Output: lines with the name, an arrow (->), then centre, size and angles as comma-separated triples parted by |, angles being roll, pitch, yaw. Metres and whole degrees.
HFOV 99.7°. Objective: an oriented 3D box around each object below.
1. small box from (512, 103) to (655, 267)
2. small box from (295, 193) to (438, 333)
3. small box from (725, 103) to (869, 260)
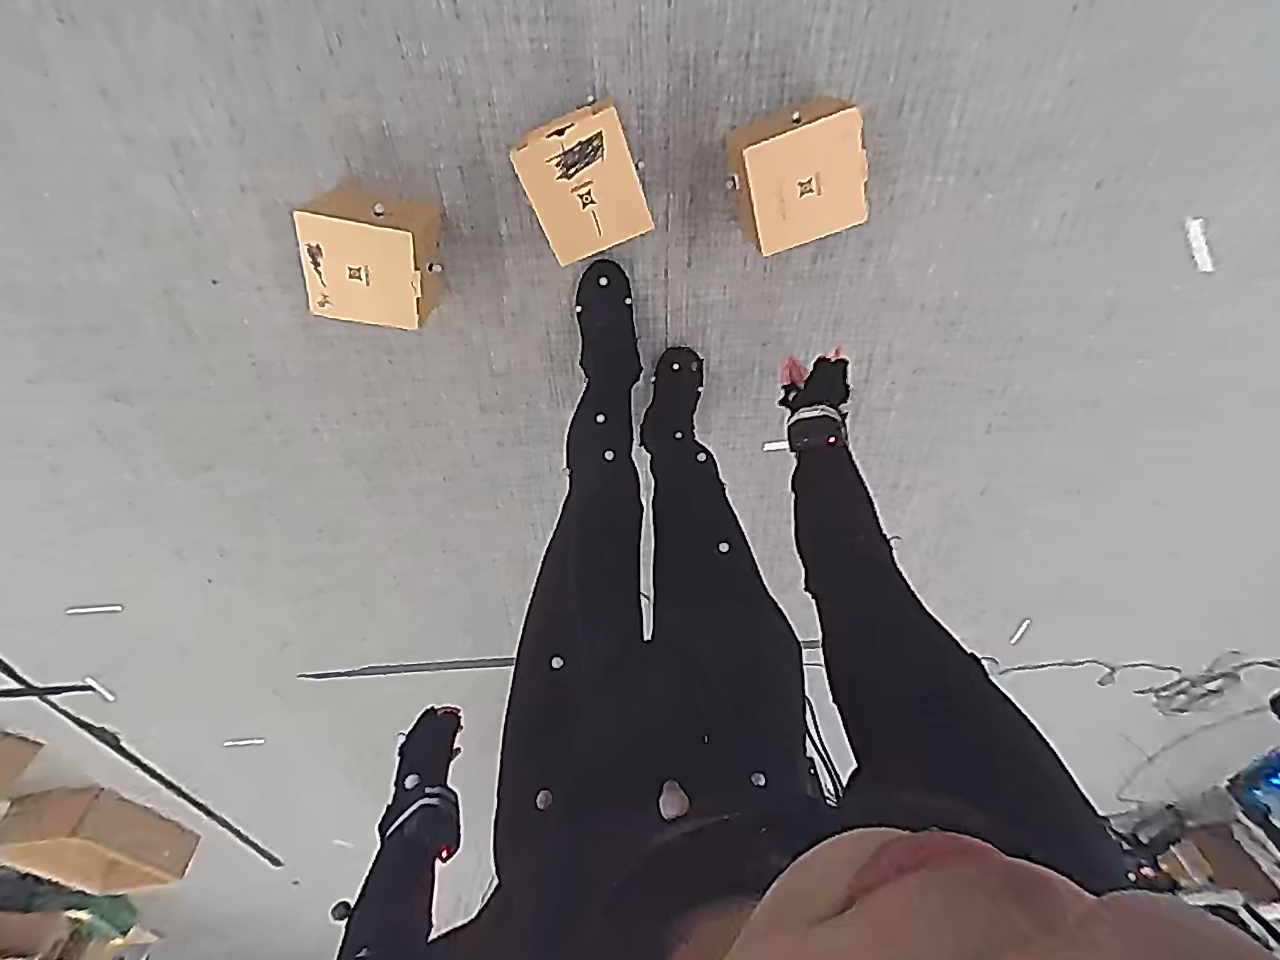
small box -> -0.087, -0.478, 0.869 | 0.168, 0.176, 0.179 | -18, 128, 10
small box -> -0.450, -0.373, 0.923 | 0.179, 0.176, 0.168 | 7, 127, -10
small box -> 0.253, -0.494, 0.889 | 0.179, 0.176, 0.168 | -17, 127, 9
